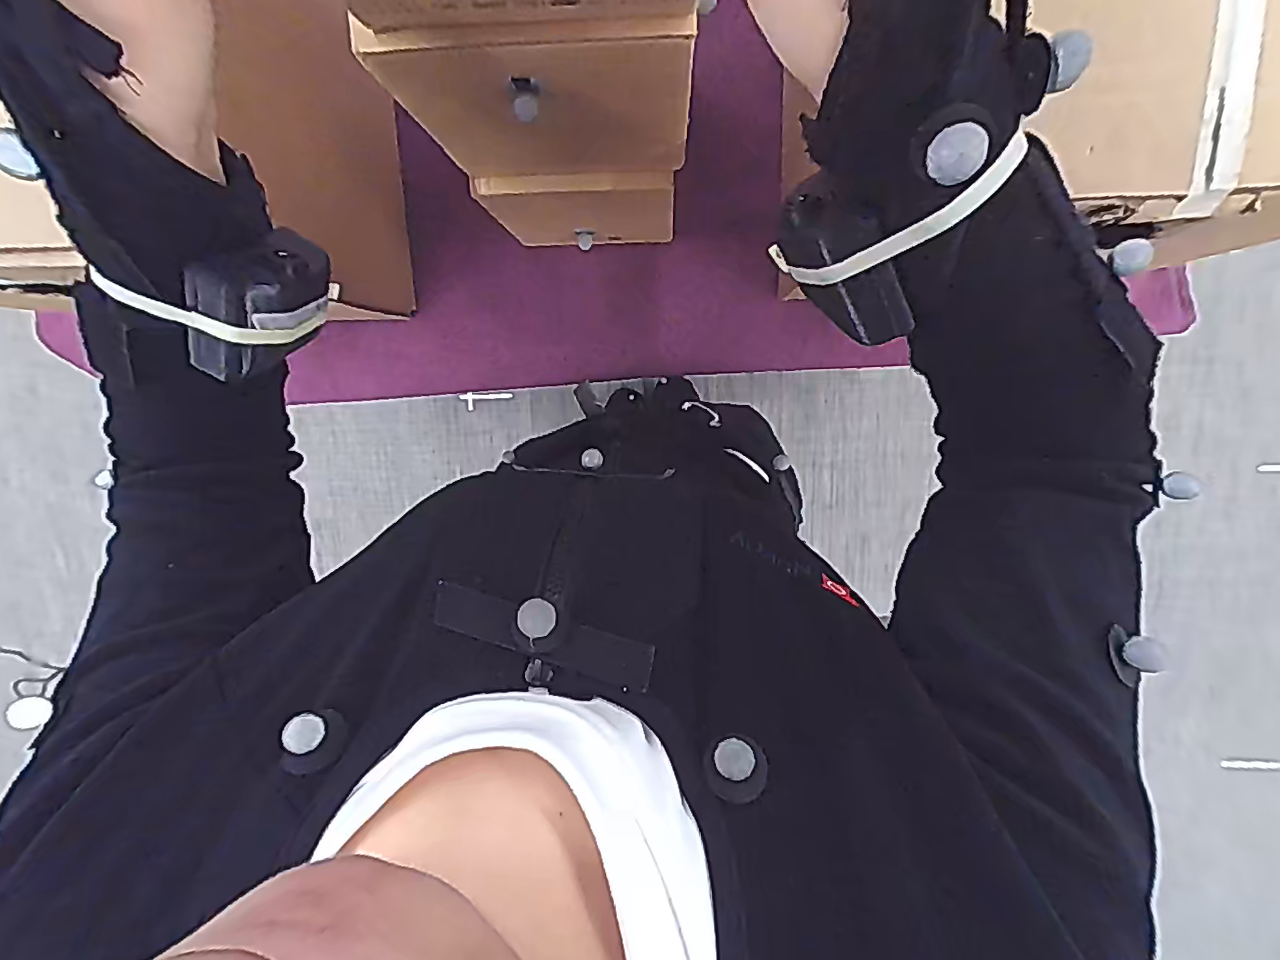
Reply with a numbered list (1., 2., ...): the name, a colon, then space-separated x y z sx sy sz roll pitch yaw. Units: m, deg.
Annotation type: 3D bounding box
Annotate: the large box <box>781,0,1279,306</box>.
1. large box: 0.286 -0.367 0.403 0.320 0.320 0.408 -2 99 3
